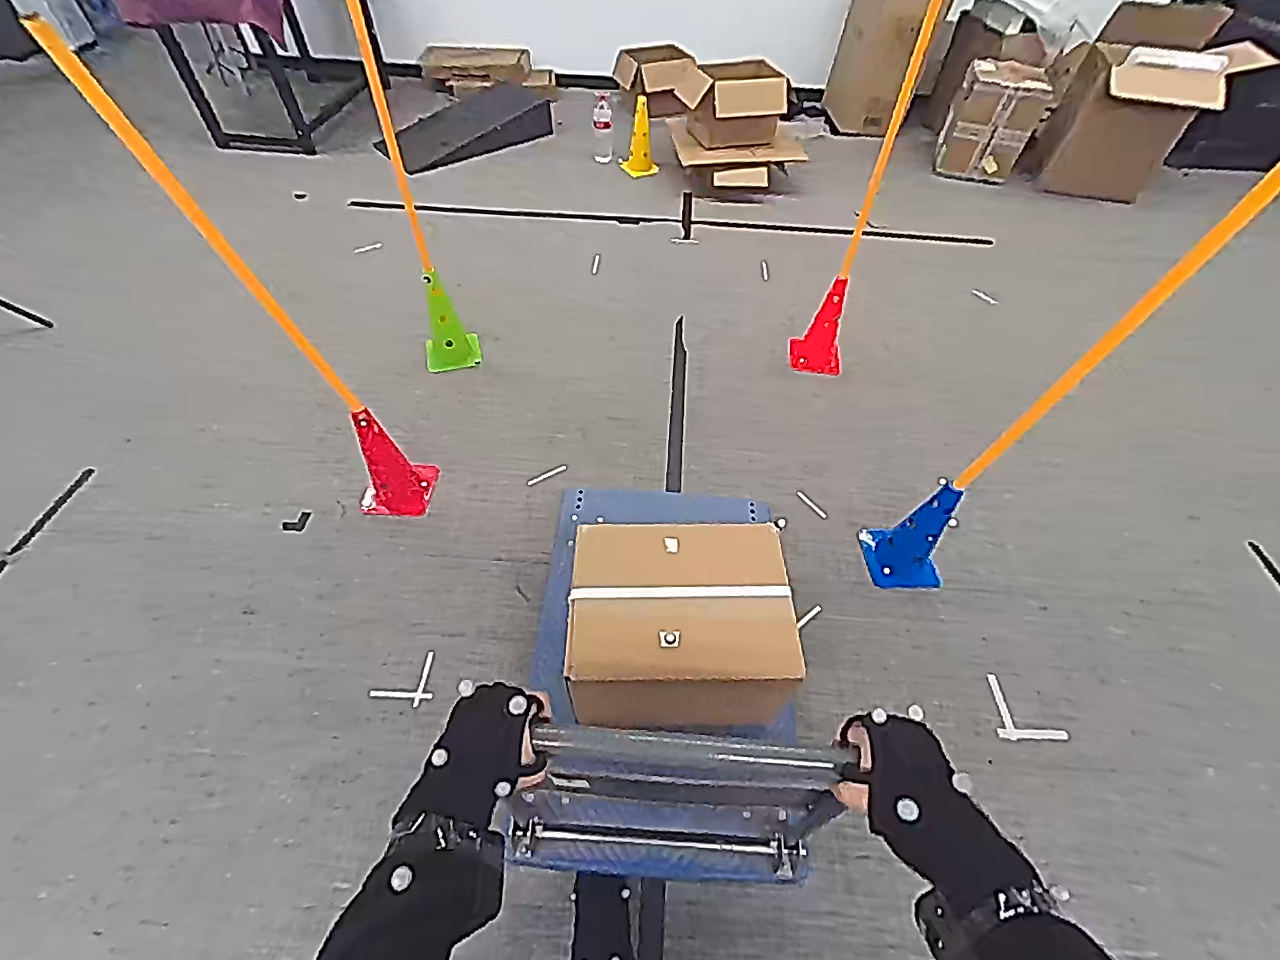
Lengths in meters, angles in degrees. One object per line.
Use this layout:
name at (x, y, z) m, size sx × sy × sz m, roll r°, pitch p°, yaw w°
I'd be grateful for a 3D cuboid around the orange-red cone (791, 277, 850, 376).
orange-red cone at (0.719, -0.600, 2.043) m, size 0.199 × 0.360 × 0.198 m, roll 10°, pitch 53°, yaw 4°

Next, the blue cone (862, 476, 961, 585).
blue cone at (0.788, 0.128, 1.498) m, size 0.193 × 0.380 × 0.192 m, roll 1°, pitch 51°, yaw -2°
